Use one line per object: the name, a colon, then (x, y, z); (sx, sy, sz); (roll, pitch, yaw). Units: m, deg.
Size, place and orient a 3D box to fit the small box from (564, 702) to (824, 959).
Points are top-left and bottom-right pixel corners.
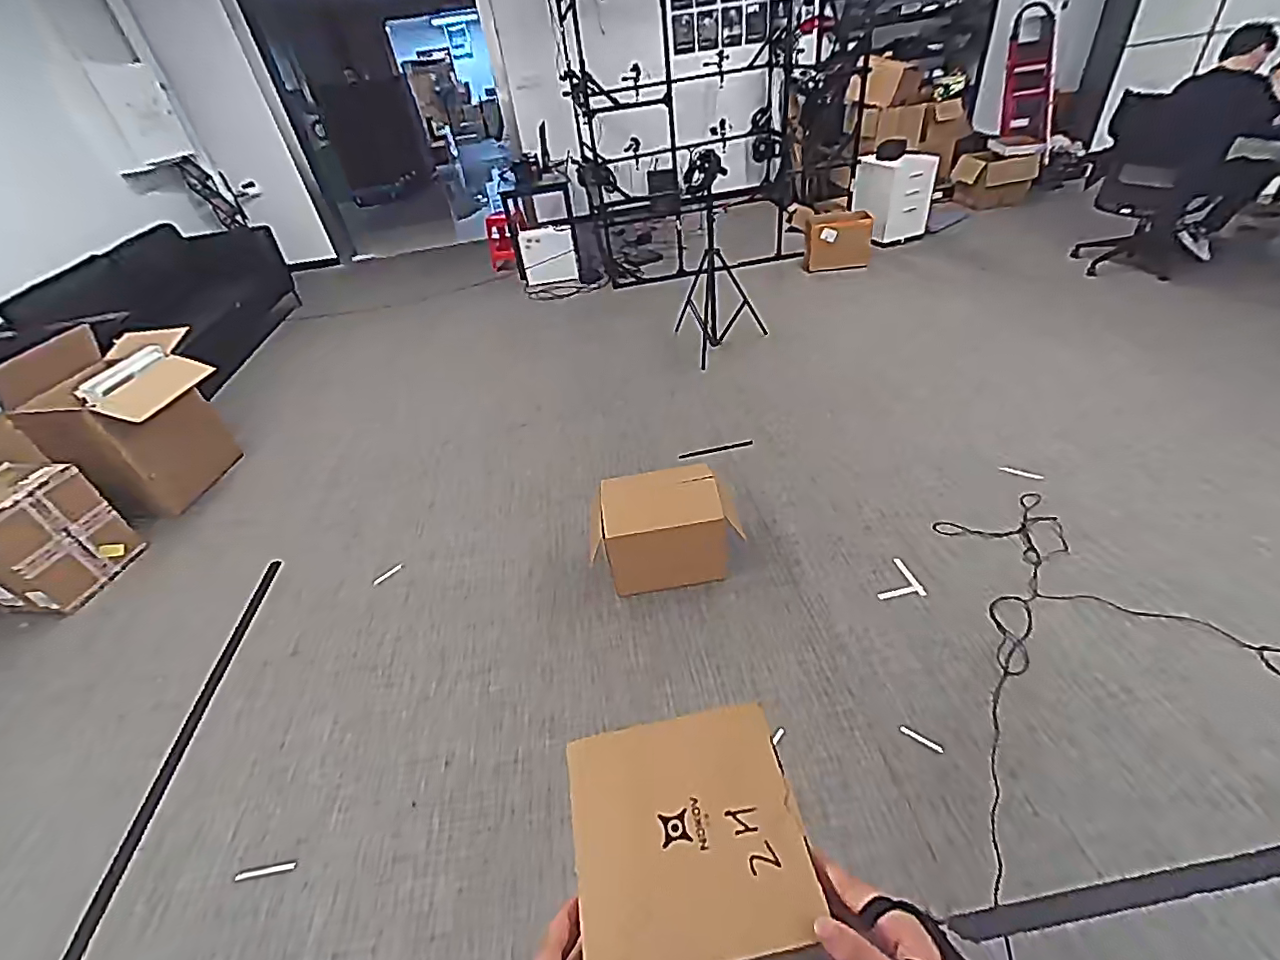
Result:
small box: (0.037, 0.325, 0.478); (0.179, 0.176, 0.168); (-10, 46, -5)
